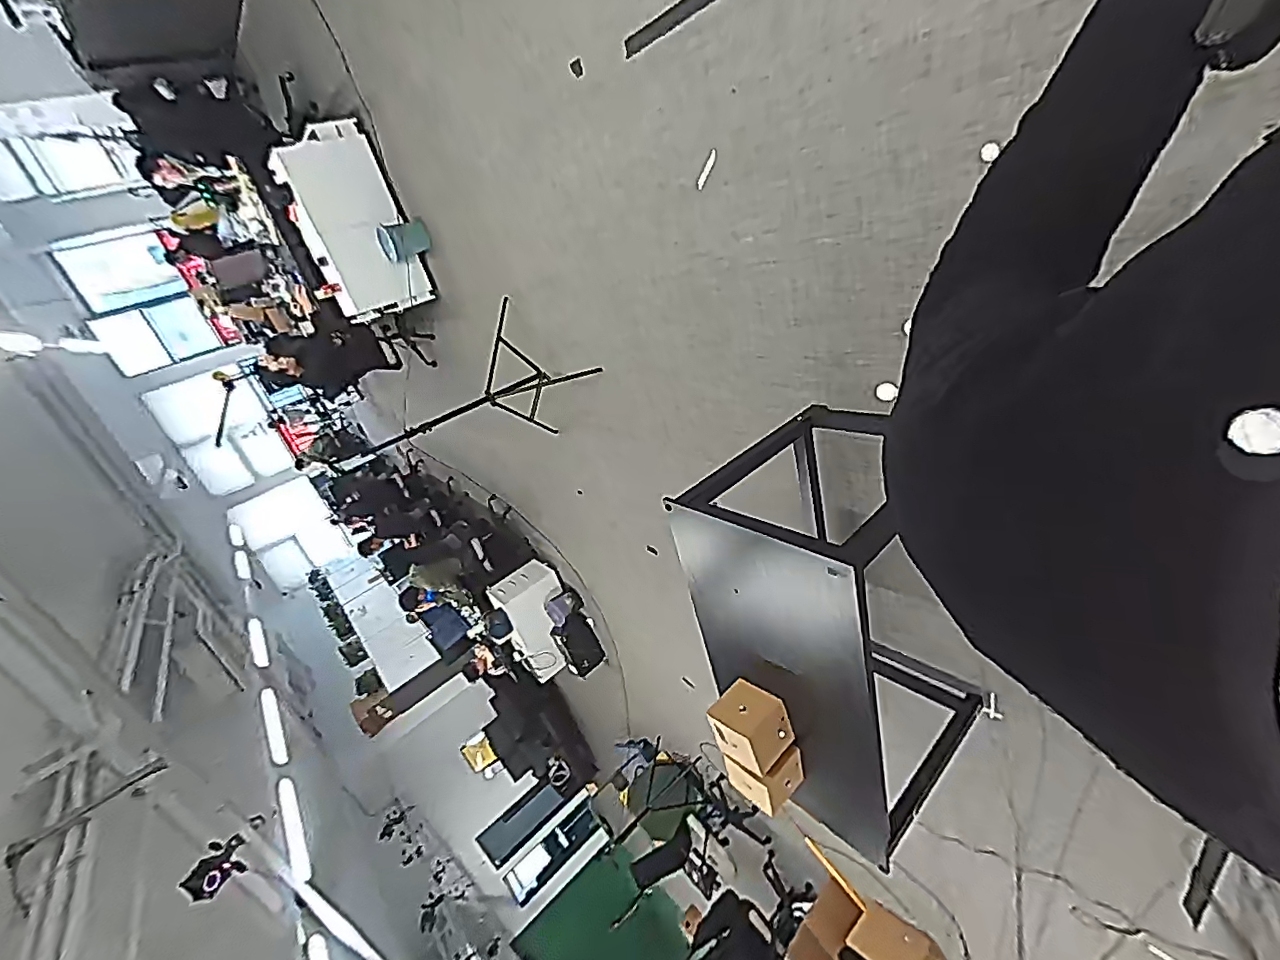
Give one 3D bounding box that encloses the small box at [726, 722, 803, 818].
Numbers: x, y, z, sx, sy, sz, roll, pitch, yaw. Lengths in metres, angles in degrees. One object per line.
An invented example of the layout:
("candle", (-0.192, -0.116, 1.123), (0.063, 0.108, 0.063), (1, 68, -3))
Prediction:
("small box", (0.405, 0.919, 1.729), (0.179, 0.176, 0.168), (21, 134, 48))
